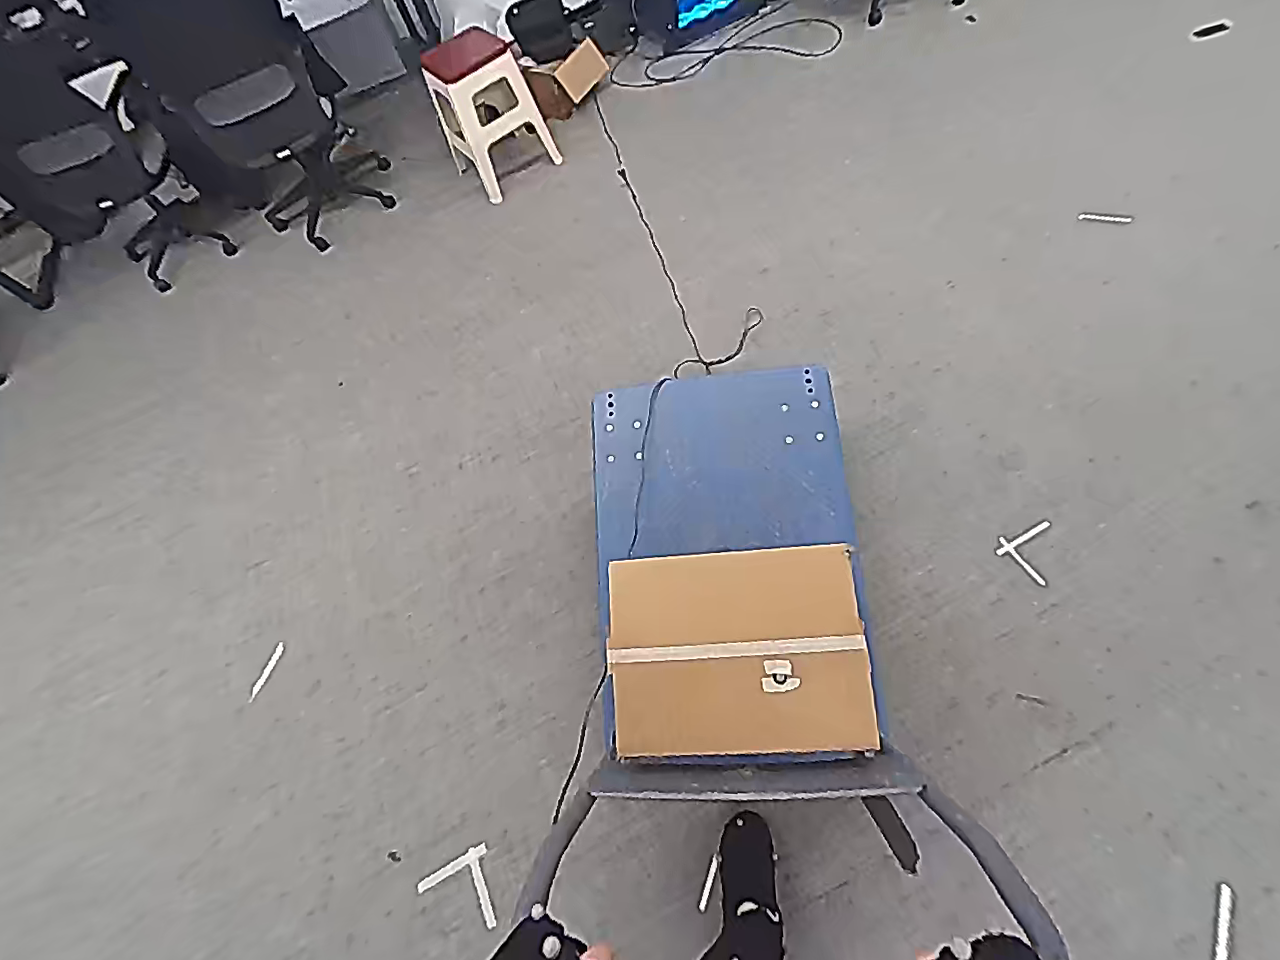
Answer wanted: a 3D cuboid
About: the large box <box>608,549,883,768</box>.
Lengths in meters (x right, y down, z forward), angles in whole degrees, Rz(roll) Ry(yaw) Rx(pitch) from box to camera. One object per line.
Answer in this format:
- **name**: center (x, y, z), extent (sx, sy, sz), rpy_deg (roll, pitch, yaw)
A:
- **large box**: center (0.171, 0.316, 0.996), extent (0.408, 0.320, 0.320), rpy_deg (-5, 75, 7)
